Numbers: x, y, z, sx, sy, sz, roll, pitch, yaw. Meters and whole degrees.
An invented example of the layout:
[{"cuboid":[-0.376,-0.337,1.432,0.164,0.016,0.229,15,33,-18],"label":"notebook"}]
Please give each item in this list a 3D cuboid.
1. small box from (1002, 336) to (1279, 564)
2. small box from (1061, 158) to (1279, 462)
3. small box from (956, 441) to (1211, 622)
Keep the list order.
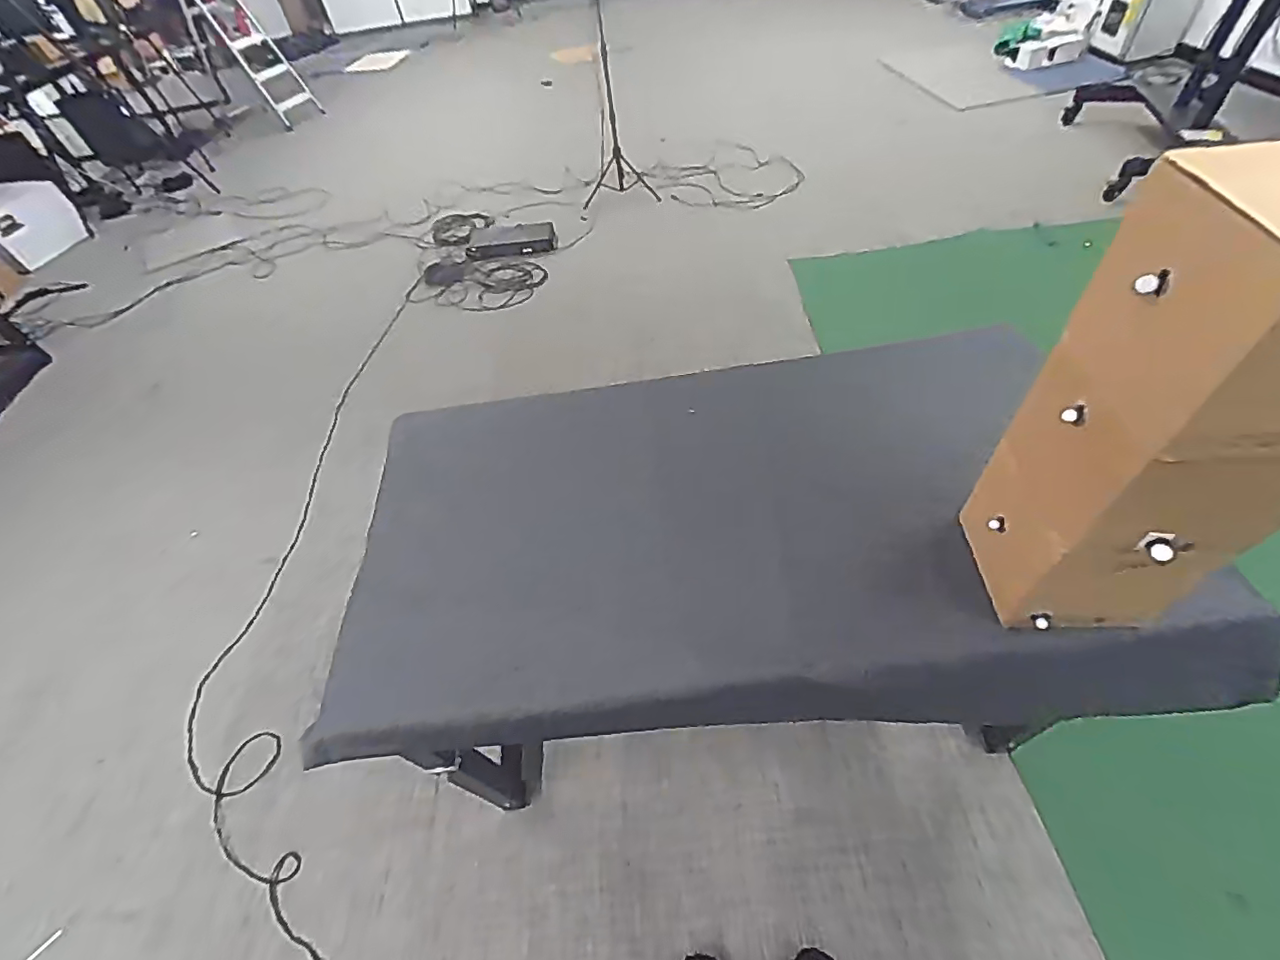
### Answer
[{"cuboid":[0.511,-0.032,0.555,0.168,0.176,0.179,-2,51,8],"label":"small box"},{"cuboid":[0.486,-0.133,0.428,0.168,0.176,0.179,-2,50,8],"label":"small box"},{"cuboid":[0.532,0.067,0.681,0.168,0.176,0.179,-2,50,7],"label":"small box"}]
